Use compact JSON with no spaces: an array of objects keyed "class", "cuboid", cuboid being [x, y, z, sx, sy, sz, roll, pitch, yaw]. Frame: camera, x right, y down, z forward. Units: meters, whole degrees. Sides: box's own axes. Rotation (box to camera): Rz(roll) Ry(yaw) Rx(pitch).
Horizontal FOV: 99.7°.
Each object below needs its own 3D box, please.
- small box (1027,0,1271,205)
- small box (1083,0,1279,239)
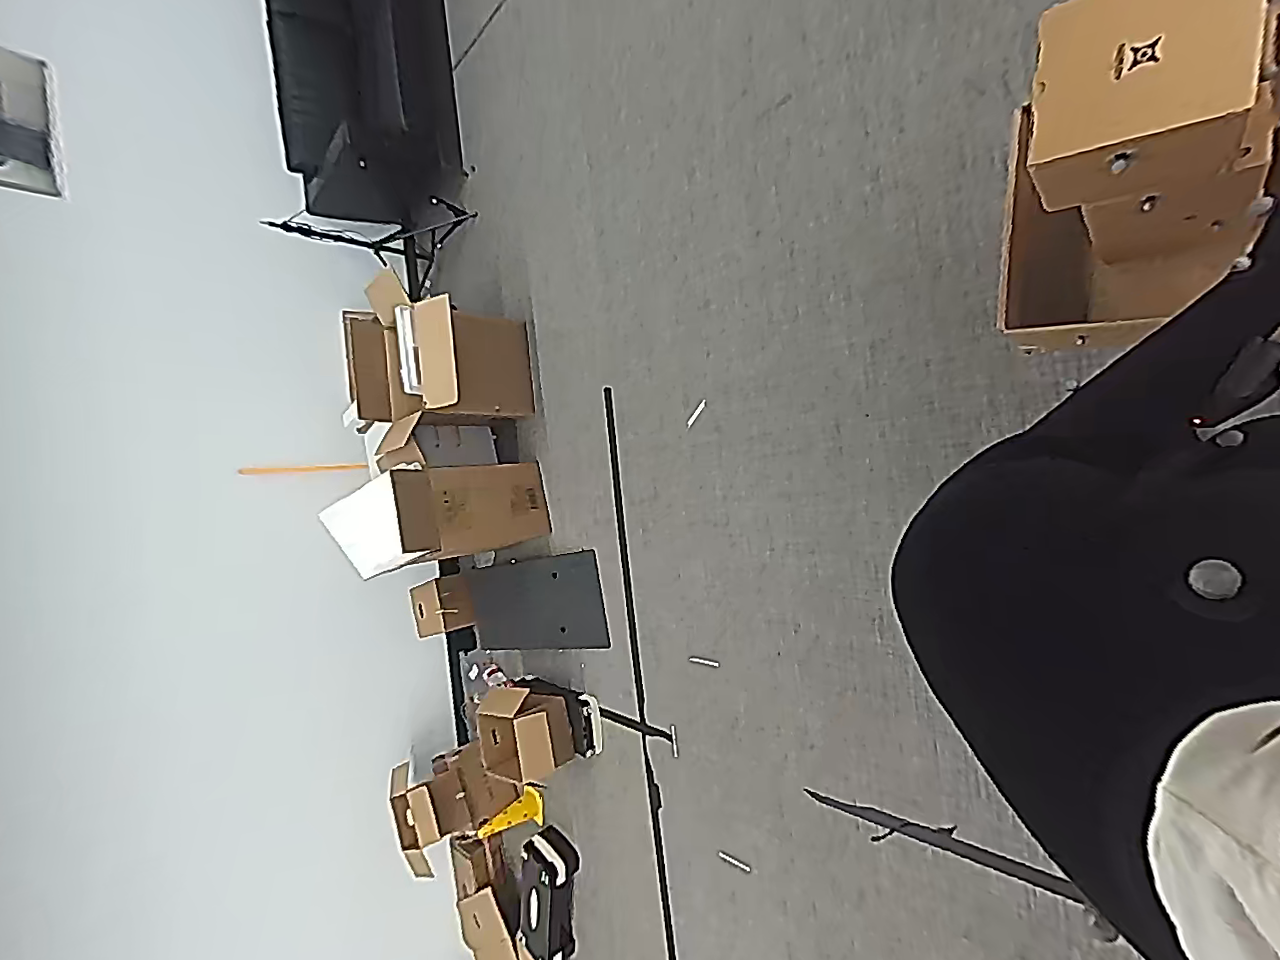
[{"class":"small box","cuboid":[0.558,-0.433,0.603,0.179,0.176,0.168,7,98,44]},{"class":"small box","cuboid":[0.690,-0.441,0.701,0.168,0.176,0.179,3,95,45]}]
